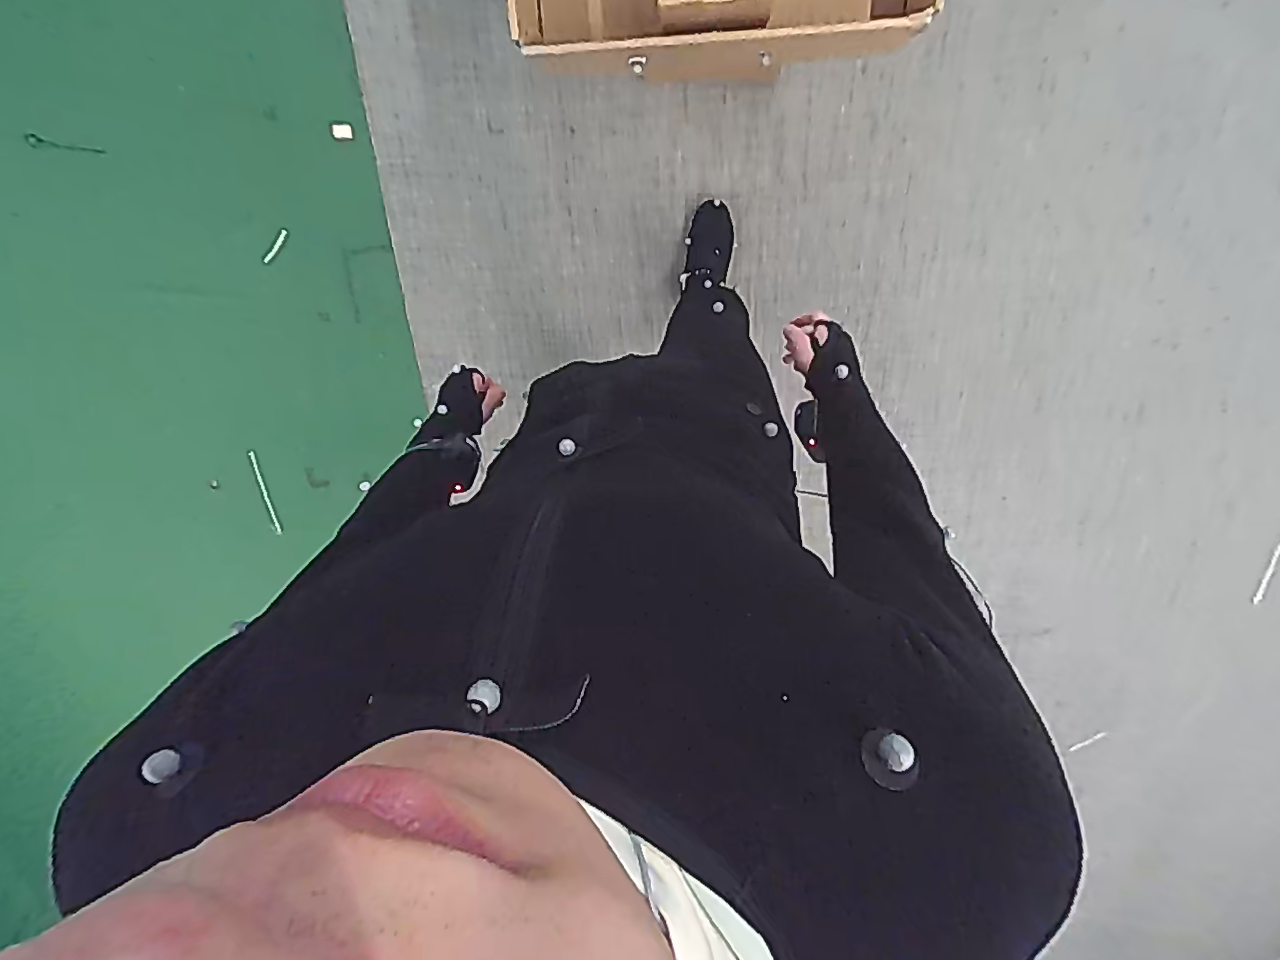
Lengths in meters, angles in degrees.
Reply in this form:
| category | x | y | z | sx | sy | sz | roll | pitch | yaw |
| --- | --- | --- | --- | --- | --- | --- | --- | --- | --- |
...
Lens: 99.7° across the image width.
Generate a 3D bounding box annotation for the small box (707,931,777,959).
| category | x | y | z | sx | sy | sz | roll | pitch | yaw |
| --- | --- | --- | --- | --- | --- | --- | --- | --- | --- |
| small box | 0.260 | 1.278 | 1.361 | 0.179 | 0.176 | 0.168 | -5 | 114 | 8 |
